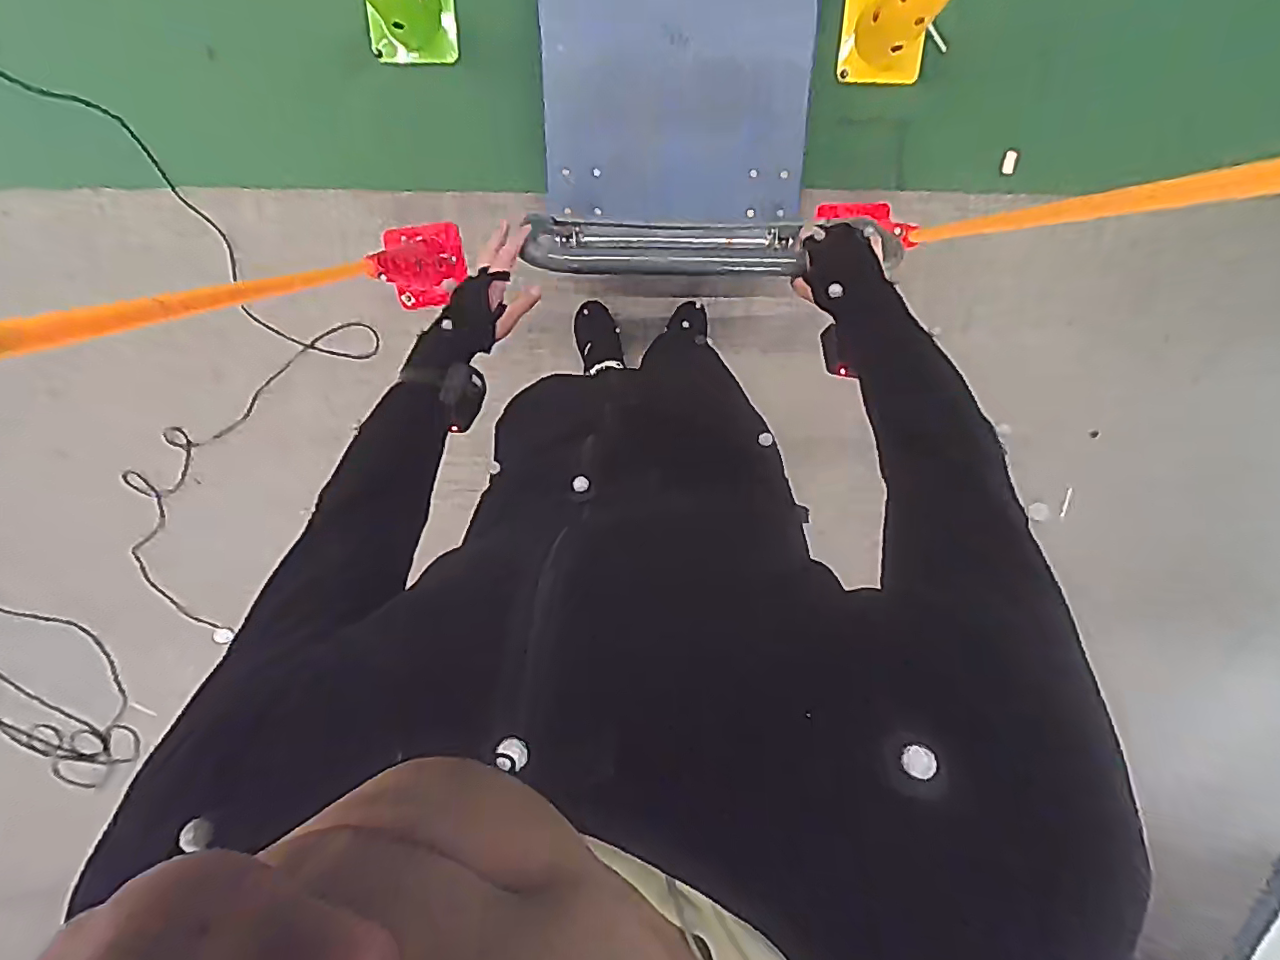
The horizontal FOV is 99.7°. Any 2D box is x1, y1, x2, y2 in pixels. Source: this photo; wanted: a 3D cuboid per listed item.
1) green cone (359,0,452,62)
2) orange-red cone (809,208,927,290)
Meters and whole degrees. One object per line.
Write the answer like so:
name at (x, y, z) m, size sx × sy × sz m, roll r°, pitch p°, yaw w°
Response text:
green cone at (-0.528, -1.001, 1.053) m, size 0.200 × 0.368 × 0.202 m, roll 0°, pitch 110°, yaw -1°
orange-red cone at (0.554, -0.548, 1.256) m, size 0.198 × 0.360 × 0.199 m, roll 0°, pitch 109°, yaw -2°
